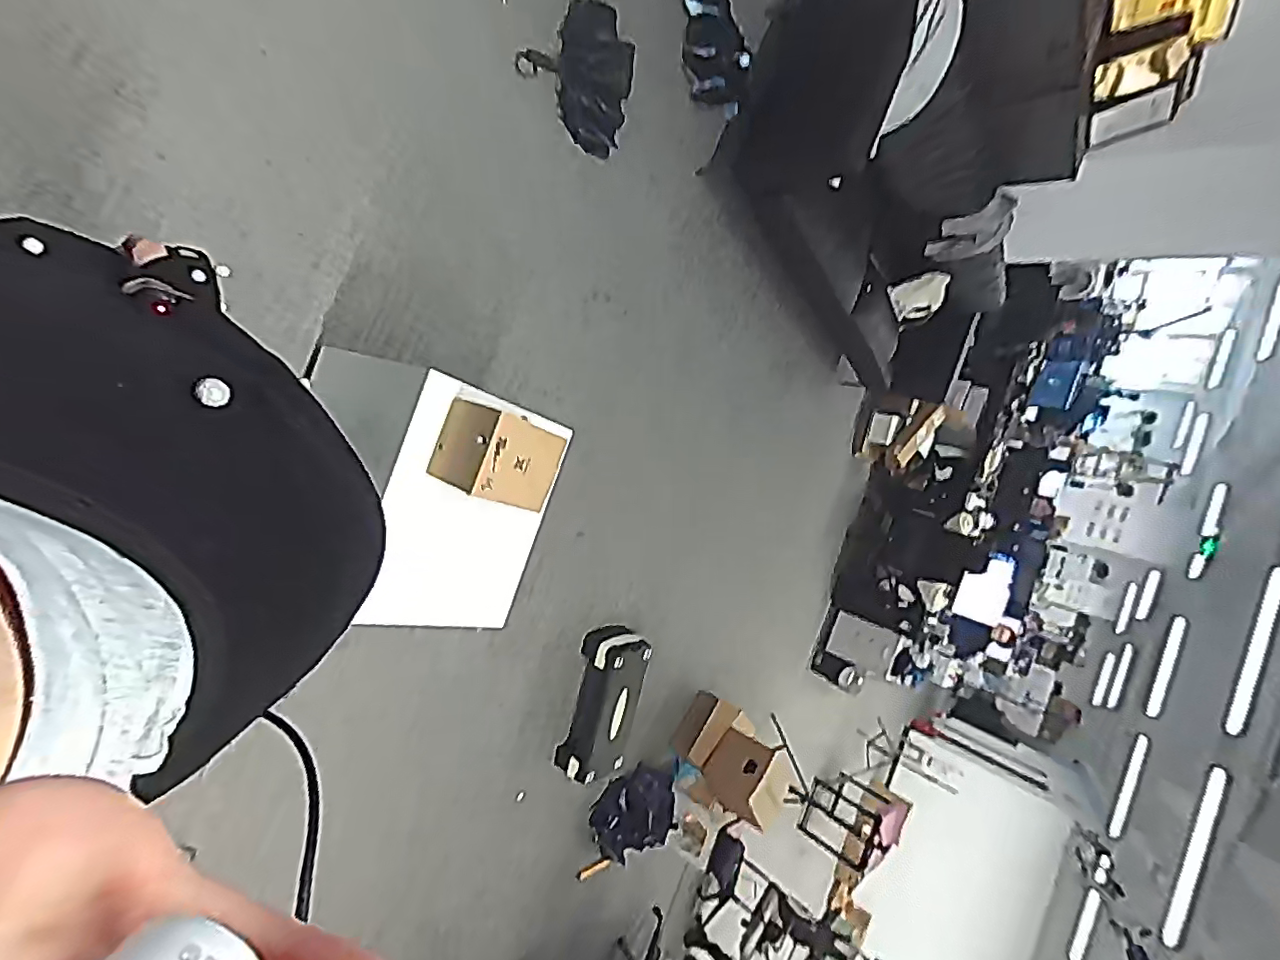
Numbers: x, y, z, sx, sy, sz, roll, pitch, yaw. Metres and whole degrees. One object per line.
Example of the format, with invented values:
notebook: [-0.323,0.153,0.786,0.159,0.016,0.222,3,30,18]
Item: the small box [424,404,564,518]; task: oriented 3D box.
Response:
small box: [-0.291,-0.039,1.078,0.179,0.176,0.168,24,86,-52]
